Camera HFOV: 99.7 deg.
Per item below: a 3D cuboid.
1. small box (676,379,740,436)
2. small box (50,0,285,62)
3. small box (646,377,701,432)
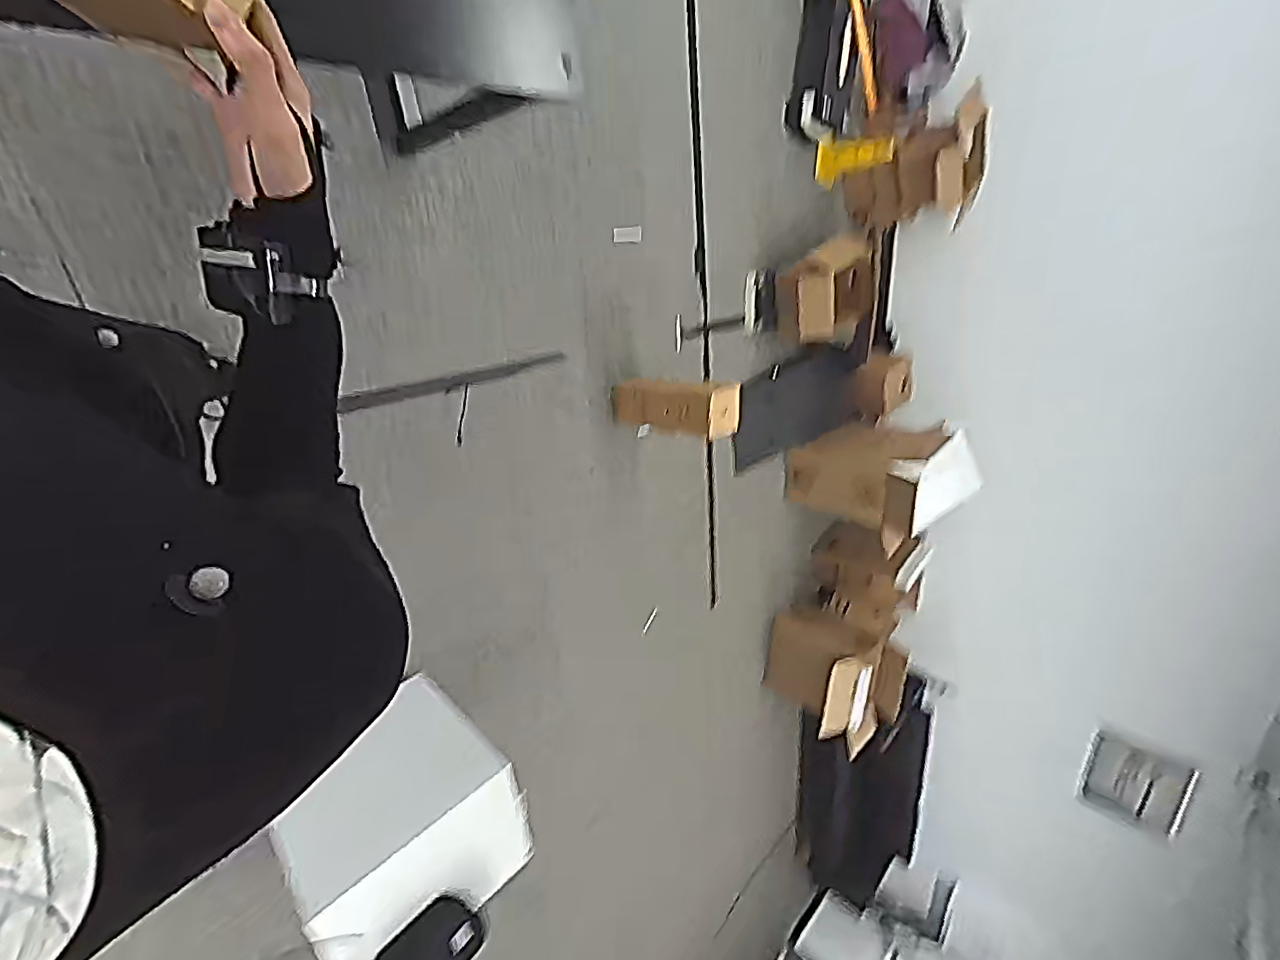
[{"bbox_3d":[0.255,-0.278,2.022,0.179,0.176,0.168,-23,120,-40],"label":"small box"},{"bbox_3d":[-0.301,-0.373,0.286,0.168,0.176,0.179,18,95,-66],"label":"small box"},{"bbox_3d":[0.136,-0.303,2.130,0.168,0.176,0.179,-26,122,-39],"label":"small box"}]
